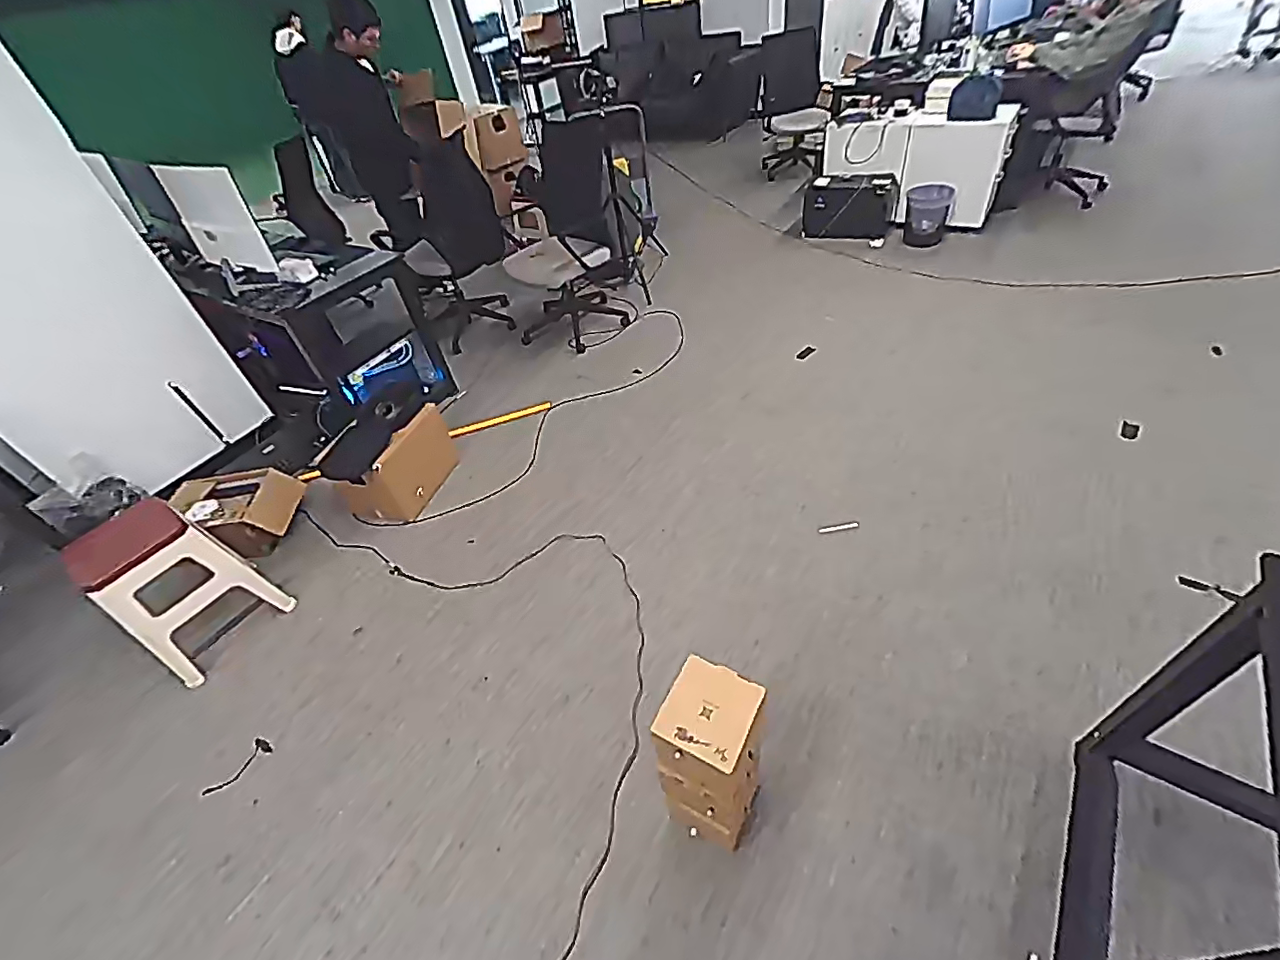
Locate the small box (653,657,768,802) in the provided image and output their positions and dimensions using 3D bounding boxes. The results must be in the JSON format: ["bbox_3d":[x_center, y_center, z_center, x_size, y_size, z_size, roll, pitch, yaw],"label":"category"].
[{"bbox_3d":[0.143,0.495,1.075,0.168,0.176,0.179,17,49,26],"label":"small box"}]

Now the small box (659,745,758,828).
[{"bbox_3d":[0.158,0.620,1.181,0.168,0.176,0.179,15,47,24],"label":"small box"}]

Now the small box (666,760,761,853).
[{"bbox_3d":[0.178,0.741,1.287,0.168,0.176,0.179,17,50,27],"label":"small box"}]
